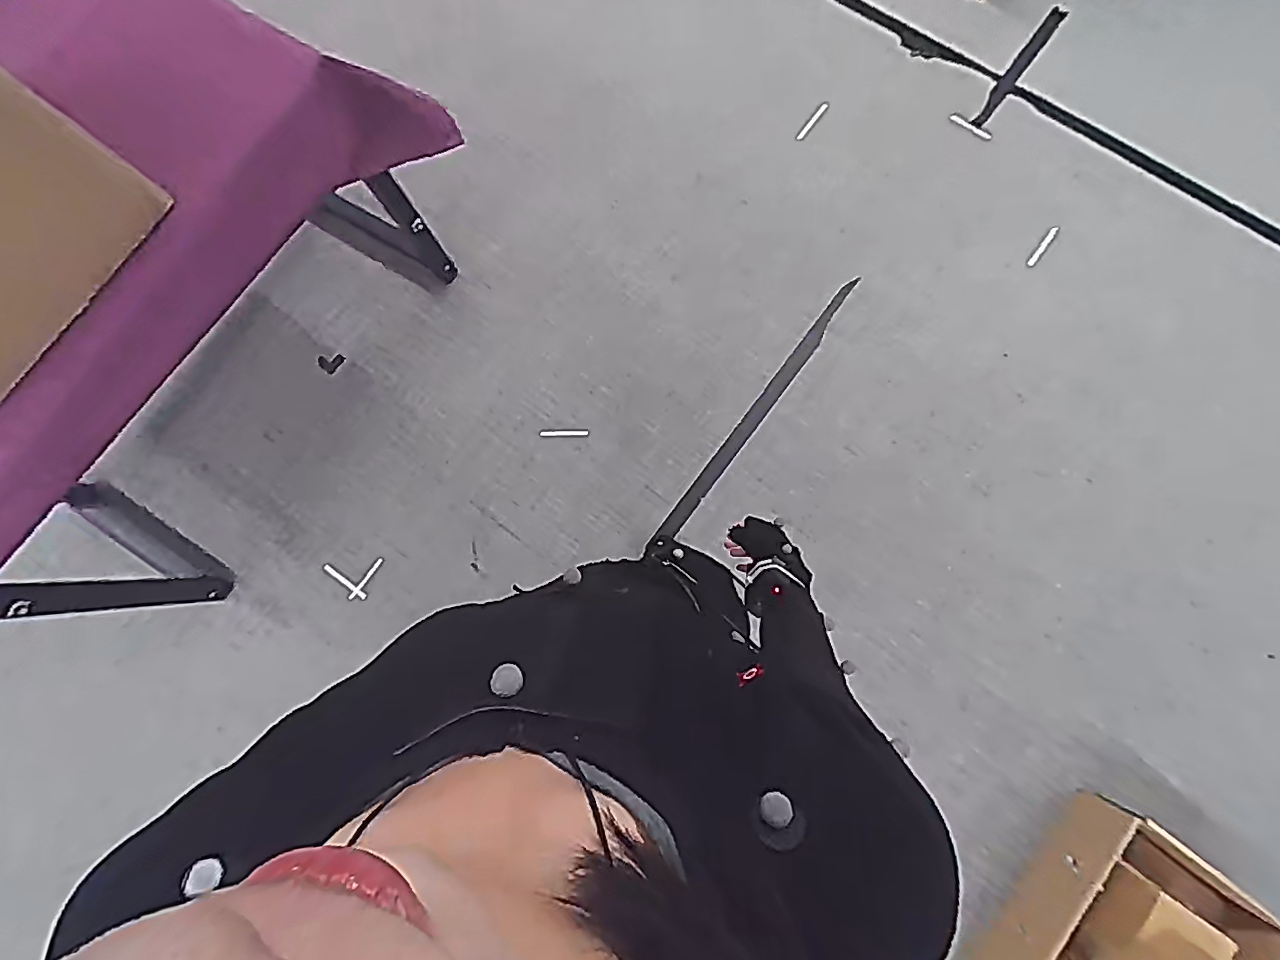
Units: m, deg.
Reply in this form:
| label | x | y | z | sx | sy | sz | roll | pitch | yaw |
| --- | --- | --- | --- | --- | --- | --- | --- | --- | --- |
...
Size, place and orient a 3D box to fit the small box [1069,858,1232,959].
| label | x | y | z | sx | sy | sz | roll | pitch | yaw |
| --- | --- | --- | --- | --- | --- | --- | --- | --- | --- |
| small box | 1.154 | 1.023 | 1.237 | 0.179 | 0.176 | 0.168 | 35 | 84 | 6 |

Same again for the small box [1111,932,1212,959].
| label | x | y | z | sx | sy | sz | roll | pitch | yaw |
| --- | --- | --- | --- | --- | --- | --- | --- | --- | --- |
| small box | 1.089 | 1.059 | 1.069 | 0.179 | 0.176 | 0.168 | -20 | 84 | -3 |
